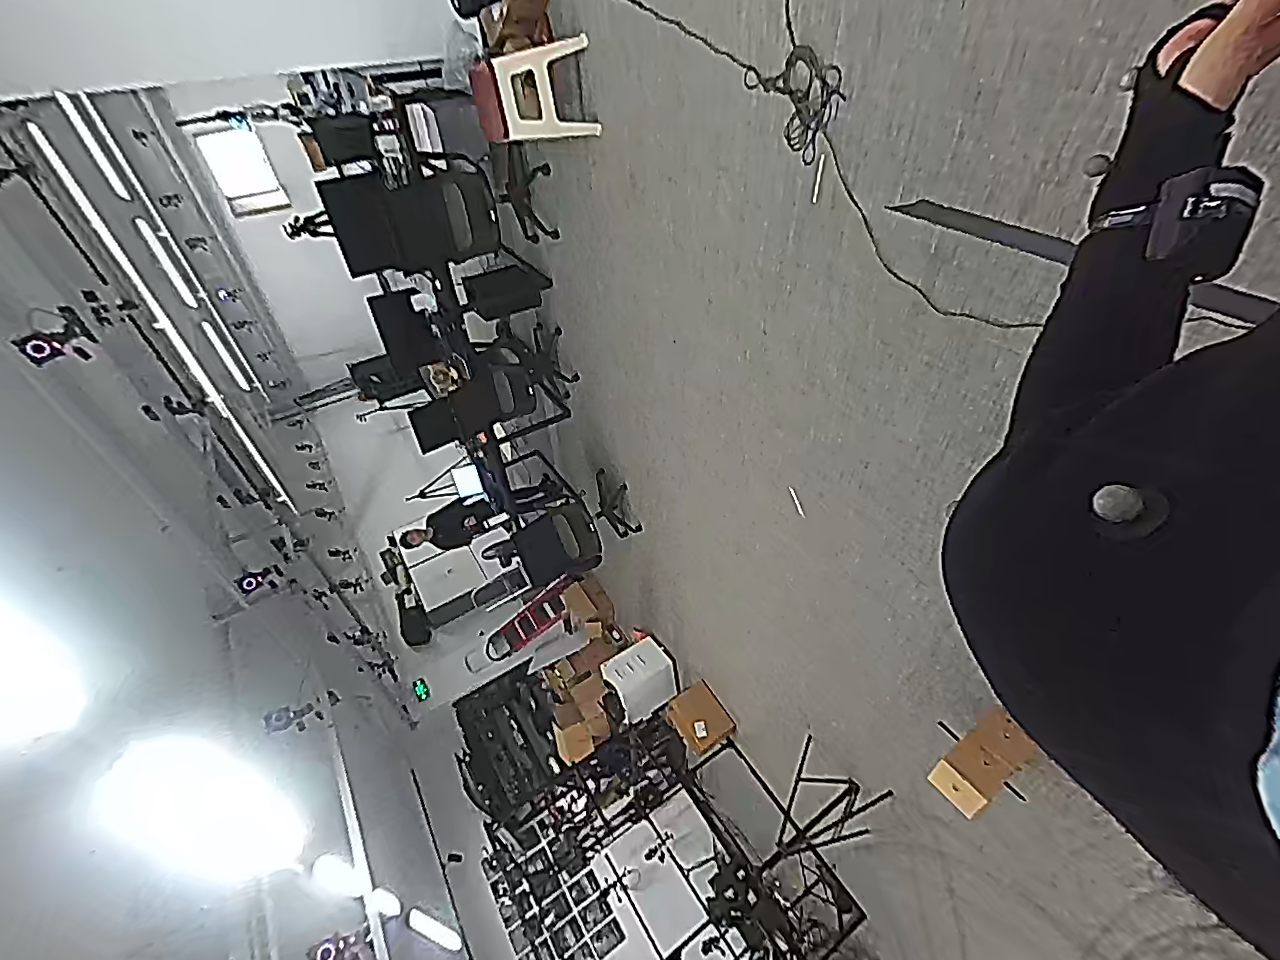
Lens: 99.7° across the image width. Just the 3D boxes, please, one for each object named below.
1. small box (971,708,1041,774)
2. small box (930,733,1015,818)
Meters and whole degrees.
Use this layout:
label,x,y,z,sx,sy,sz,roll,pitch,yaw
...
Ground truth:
label,x,y,z,sx,sy,sz,roll,pitch,yaw
small box,1.294,0.960,1.945,0.168,0.176,0.179,43,151,42
small box,1.158,1.027,1.884,0.168,0.176,0.179,44,149,41
